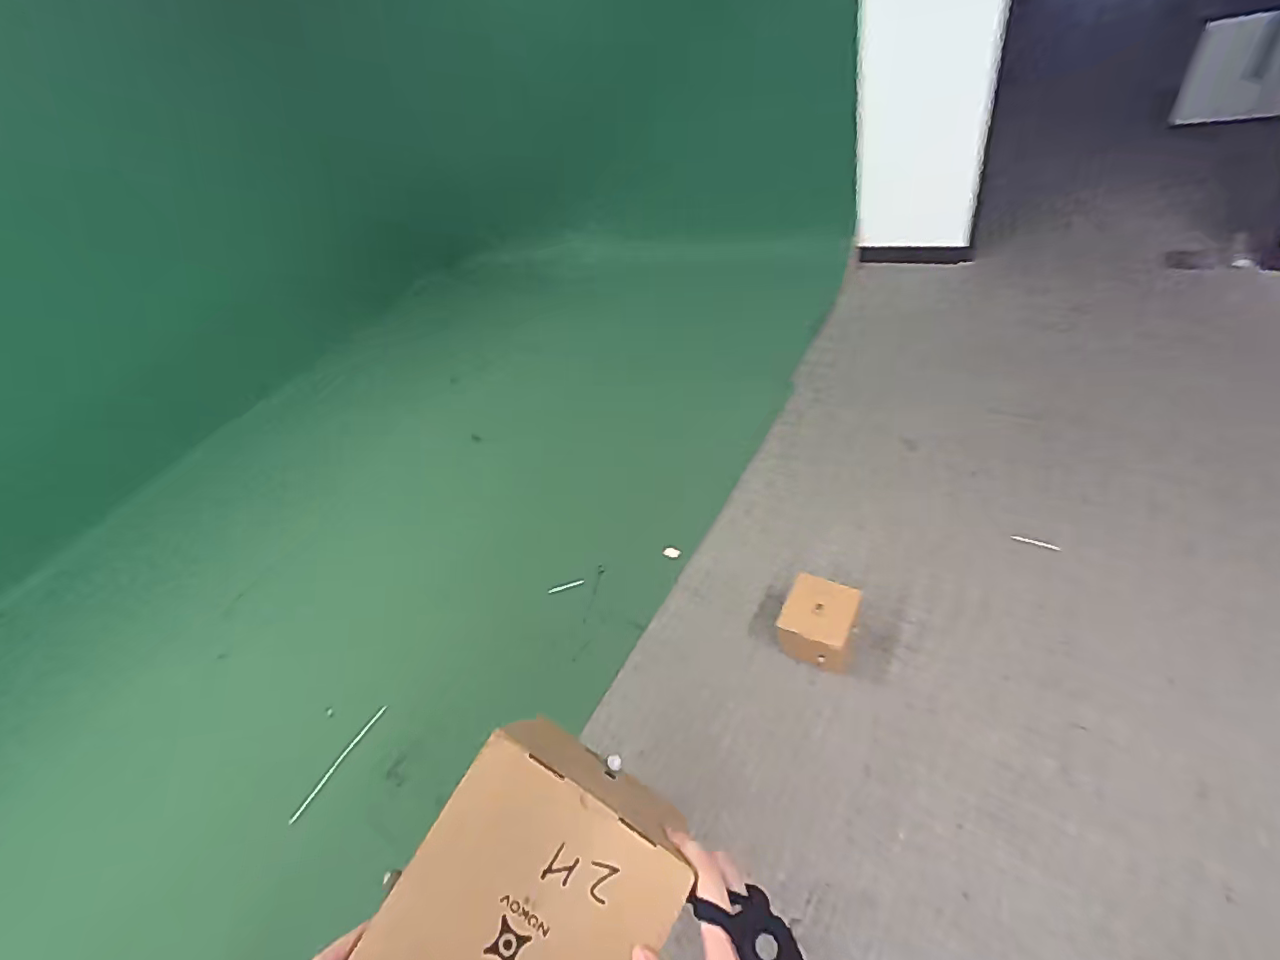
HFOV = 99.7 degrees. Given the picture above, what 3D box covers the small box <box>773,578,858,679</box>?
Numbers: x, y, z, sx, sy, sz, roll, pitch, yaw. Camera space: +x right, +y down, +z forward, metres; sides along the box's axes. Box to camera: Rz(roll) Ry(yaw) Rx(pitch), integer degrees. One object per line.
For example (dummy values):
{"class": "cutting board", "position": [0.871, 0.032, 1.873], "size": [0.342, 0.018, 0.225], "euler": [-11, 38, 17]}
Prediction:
{"class": "small box", "position": [0.469, 0.395, 1.430], "size": [0.168, 0.176, 0.179], "euler": [16, 56, 31]}
